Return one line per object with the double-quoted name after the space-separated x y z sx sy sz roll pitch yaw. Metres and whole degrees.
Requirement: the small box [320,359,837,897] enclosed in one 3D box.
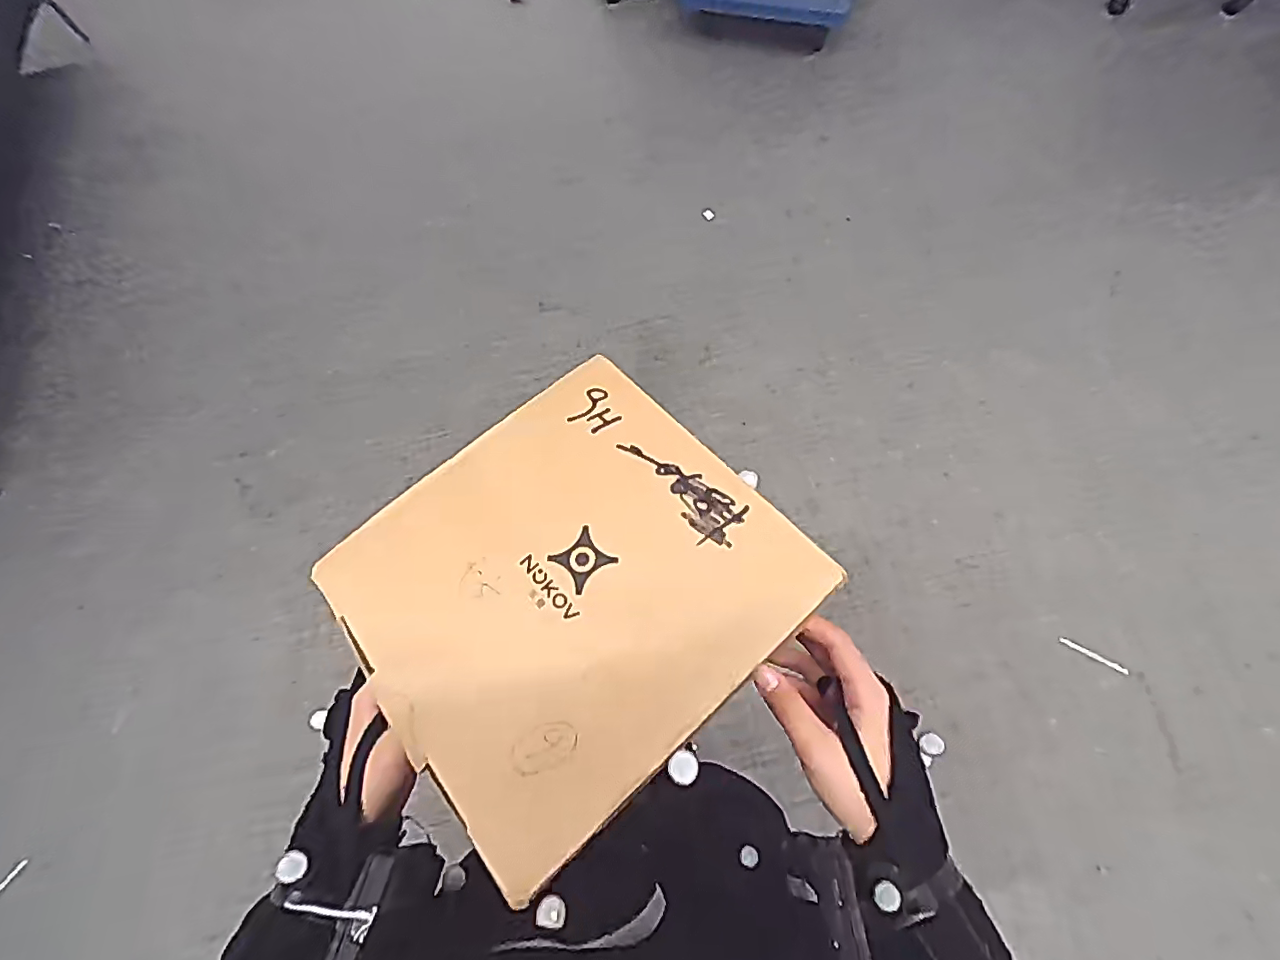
-0.024 0.076 0.306 0.179 0.176 0.168 -39 67 -13 "small box"
